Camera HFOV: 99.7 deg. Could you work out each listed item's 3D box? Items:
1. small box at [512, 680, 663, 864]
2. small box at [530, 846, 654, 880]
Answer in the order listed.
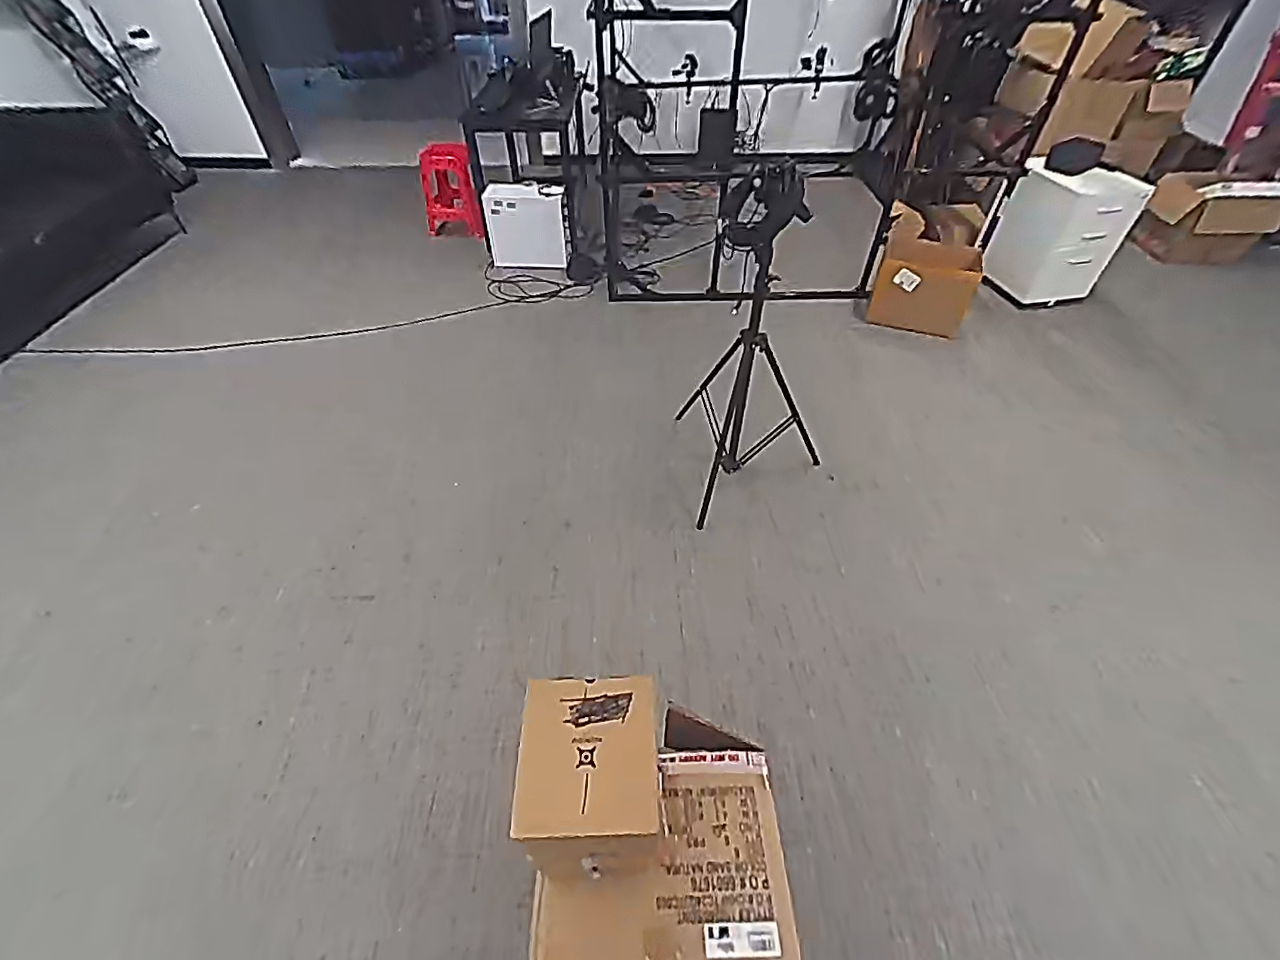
[{"bbox_3d":[-0.056,0.376,0.697,0.168,0.176,0.179,-2,49,1],"label":"small box"},{"bbox_3d":[-0.067,0.485,0.822,0.168,0.176,0.179,-5,49,-1],"label":"small box"}]
